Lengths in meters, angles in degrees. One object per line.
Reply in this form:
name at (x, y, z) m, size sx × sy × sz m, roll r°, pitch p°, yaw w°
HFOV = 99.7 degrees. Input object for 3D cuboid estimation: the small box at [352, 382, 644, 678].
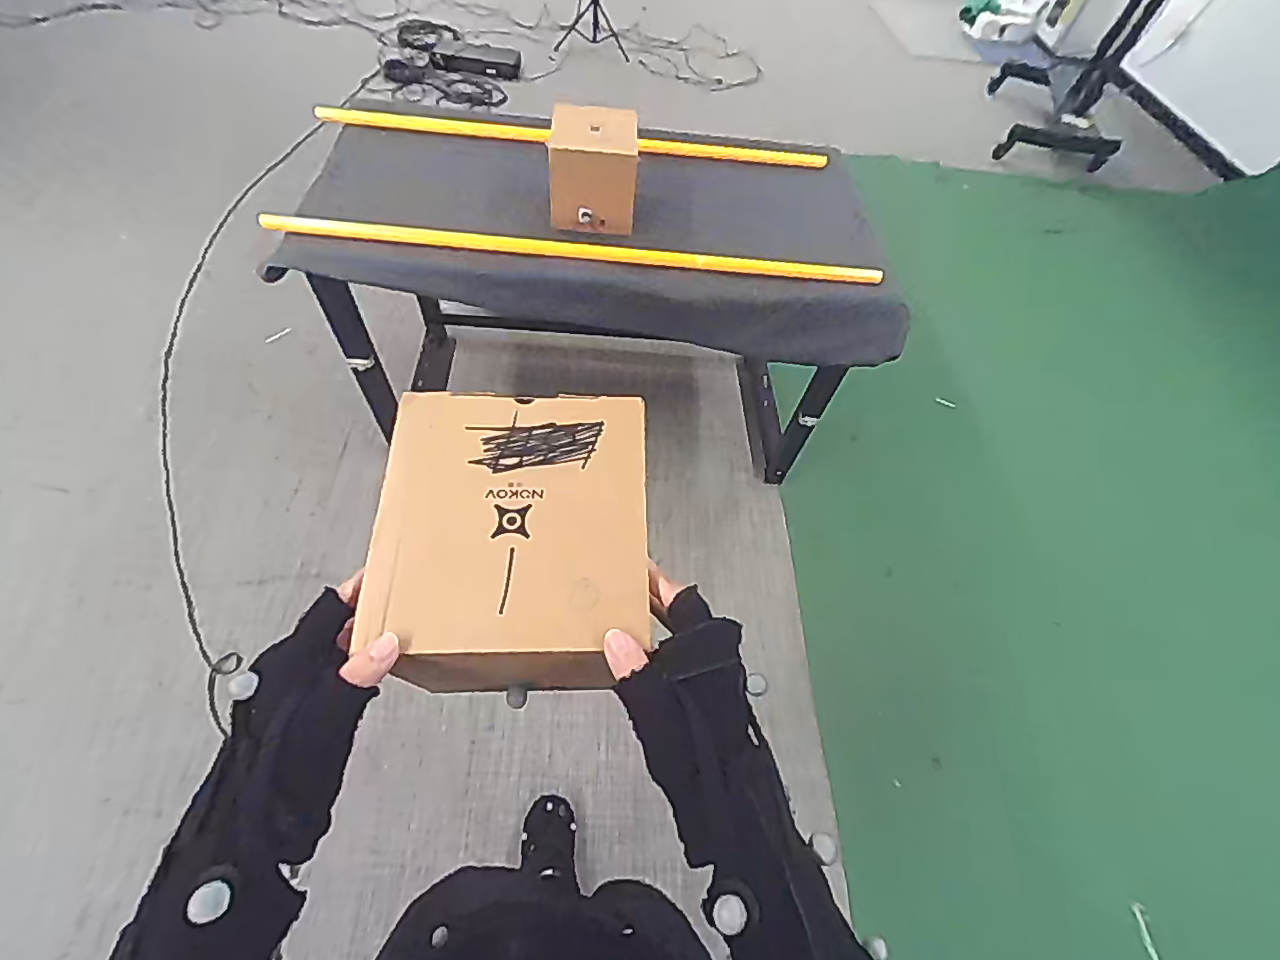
small box at (-0.085, 0.048, 0.413) m, size 0.168 × 0.176 × 0.179 m, roll 1°, pitch 63°, yaw -4°

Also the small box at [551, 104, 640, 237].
small box at (-0.091, -0.627, 1.103) m, size 0.168 × 0.176 × 0.179 m, roll 1°, pitch 58°, yaw -5°
